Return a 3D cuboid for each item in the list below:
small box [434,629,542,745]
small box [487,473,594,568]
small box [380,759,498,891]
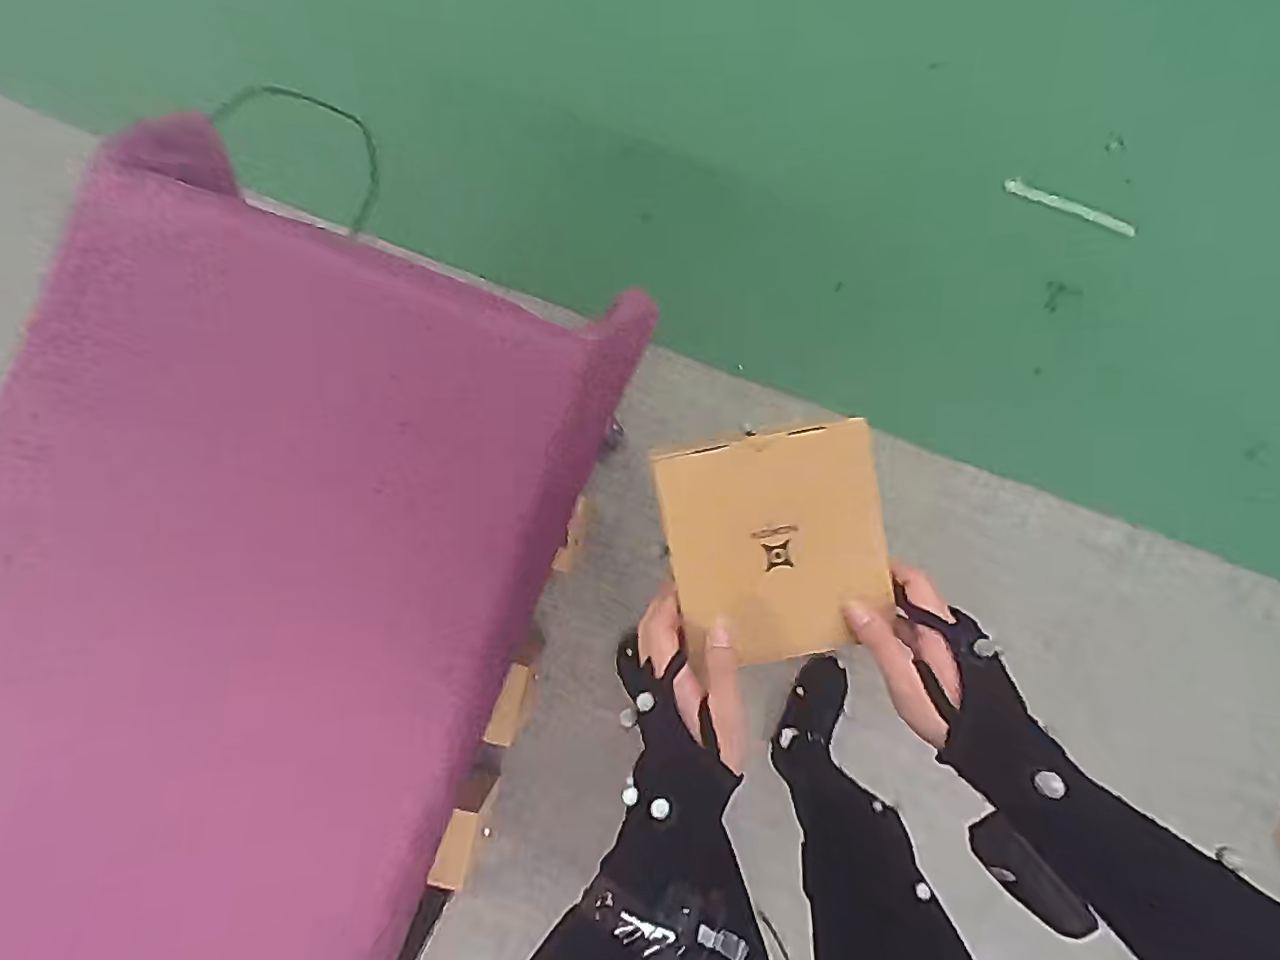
[{"bbox_3d":[-0.325,0.446,1.196,0.168,0.176,0.179,14,89,4],"label":"small box"},{"bbox_3d":[-0.213,0.089,1.204,0.179,0.176,0.168,14,88,3],"label":"small box"},{"bbox_3d":[-0.431,0.746,1.188,0.179,0.176,0.168,12,88,3],"label":"small box"}]
